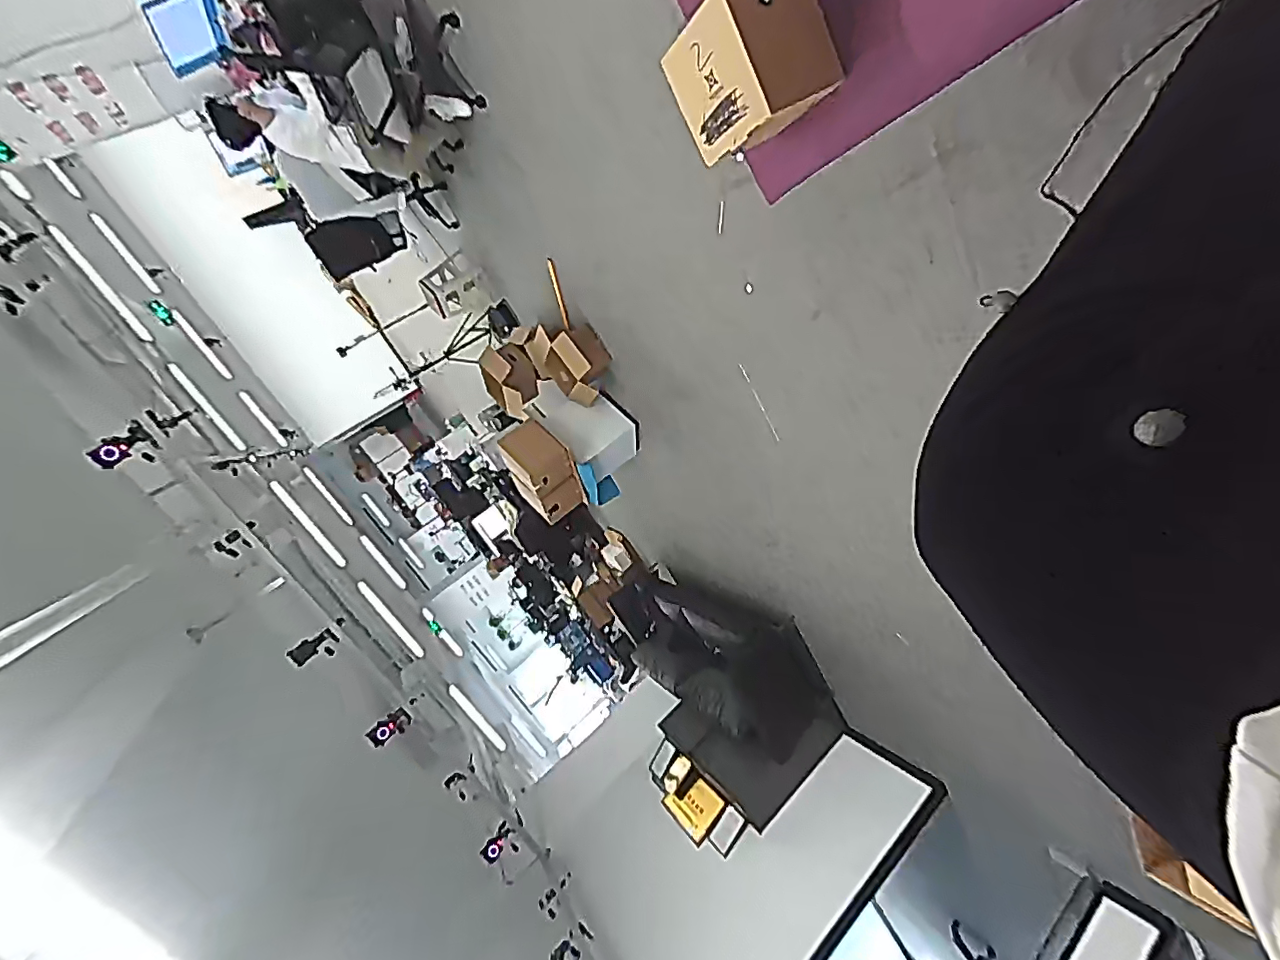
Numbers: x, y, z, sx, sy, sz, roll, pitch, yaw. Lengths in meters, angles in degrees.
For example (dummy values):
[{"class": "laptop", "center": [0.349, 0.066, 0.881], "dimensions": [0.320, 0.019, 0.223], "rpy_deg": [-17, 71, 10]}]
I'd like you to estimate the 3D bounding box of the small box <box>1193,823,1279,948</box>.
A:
[{"class": "small box", "center": [1.641, 1.081, 1.451], "dimensions": [0.179, 0.176, 0.168], "rpy_deg": [61, 160, -19]}]
